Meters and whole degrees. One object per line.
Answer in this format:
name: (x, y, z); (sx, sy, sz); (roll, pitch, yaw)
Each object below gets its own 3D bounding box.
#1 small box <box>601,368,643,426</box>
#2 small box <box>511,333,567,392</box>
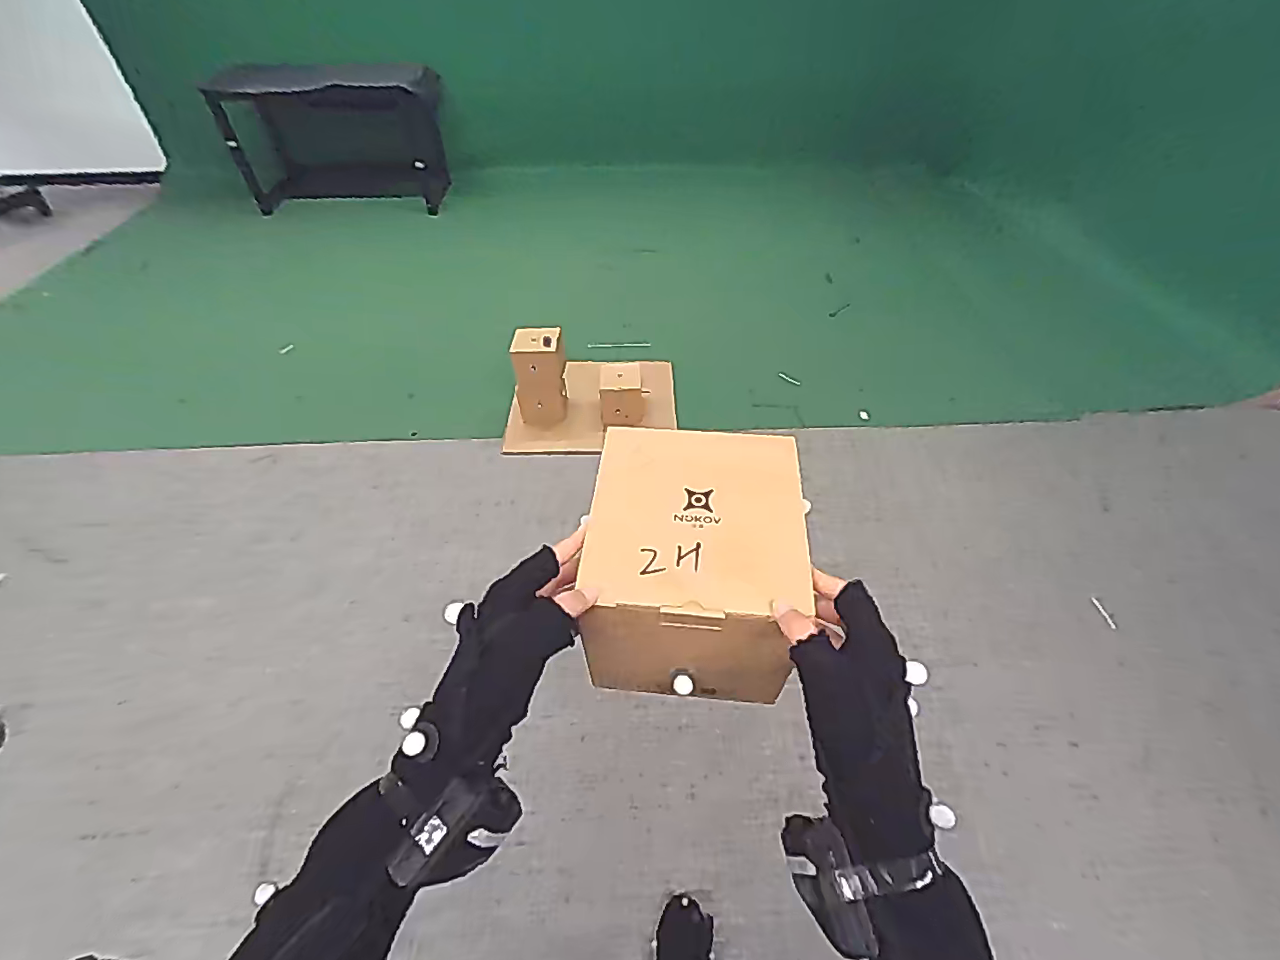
small box: (-0.073, -0.342, 2.230); (0.168, 0.176, 0.179); (-2, 47, -1)
small box: (-0.386, -0.457, 2.110); (0.179, 0.176, 0.168); (0, 46, 3)
